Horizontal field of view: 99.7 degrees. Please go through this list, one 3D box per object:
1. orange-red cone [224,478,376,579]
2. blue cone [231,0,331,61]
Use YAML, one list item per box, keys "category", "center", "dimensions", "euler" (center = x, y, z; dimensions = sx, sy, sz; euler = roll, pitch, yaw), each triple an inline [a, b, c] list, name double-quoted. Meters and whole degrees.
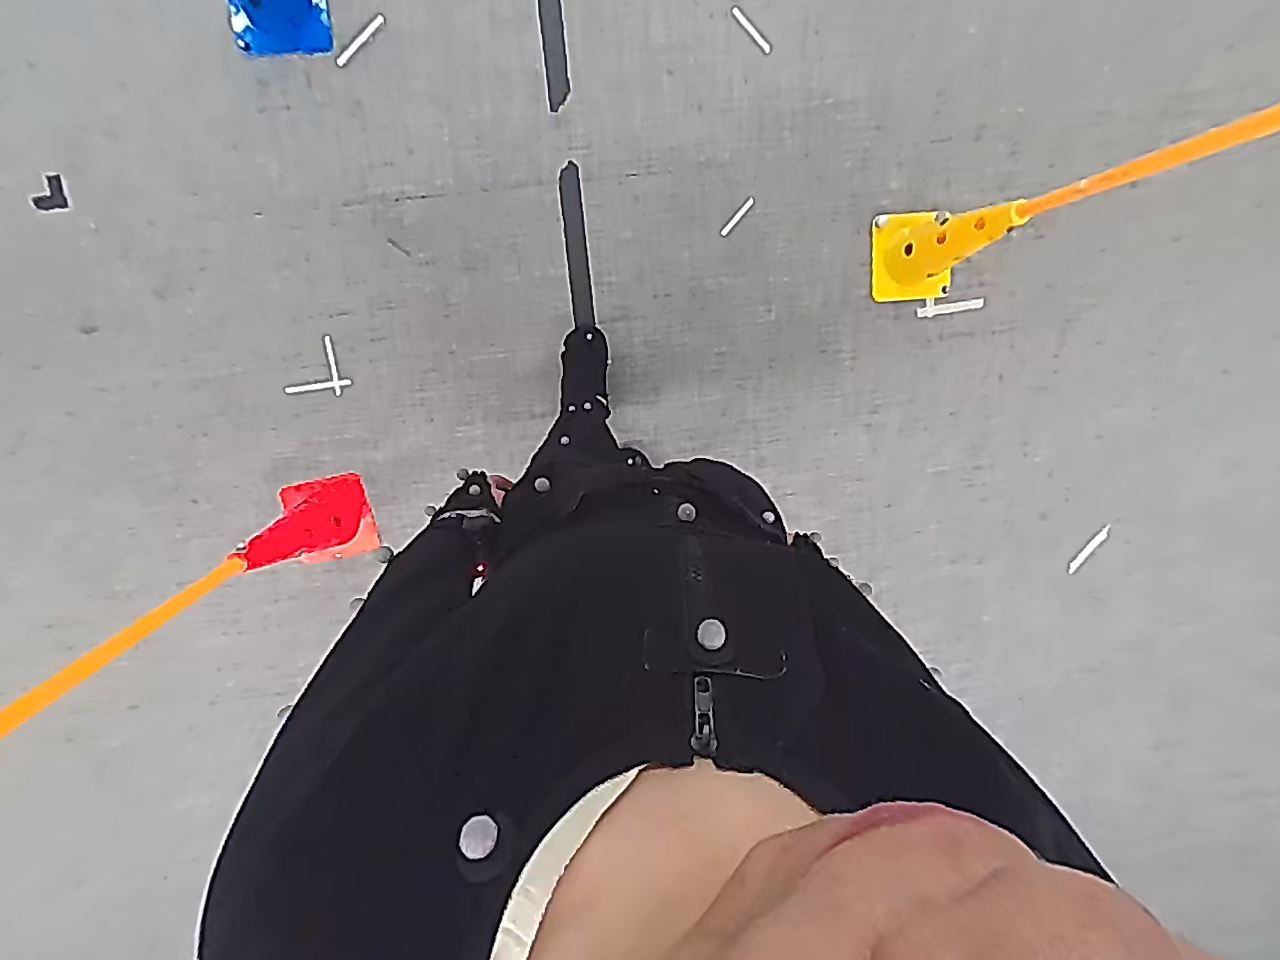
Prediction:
- category: "orange-red cone"
  center: [-0.747, 0.132, 1.148]
  dimensions: [0.199, 0.360, 0.198]
  euler: [-12, 100, -3]
- category: "blue cone"
  center: [-0.751, -0.967, 0.982]
  dimensions: [0.193, 0.380, 0.192]
  euler: [-4, 100, -3]
